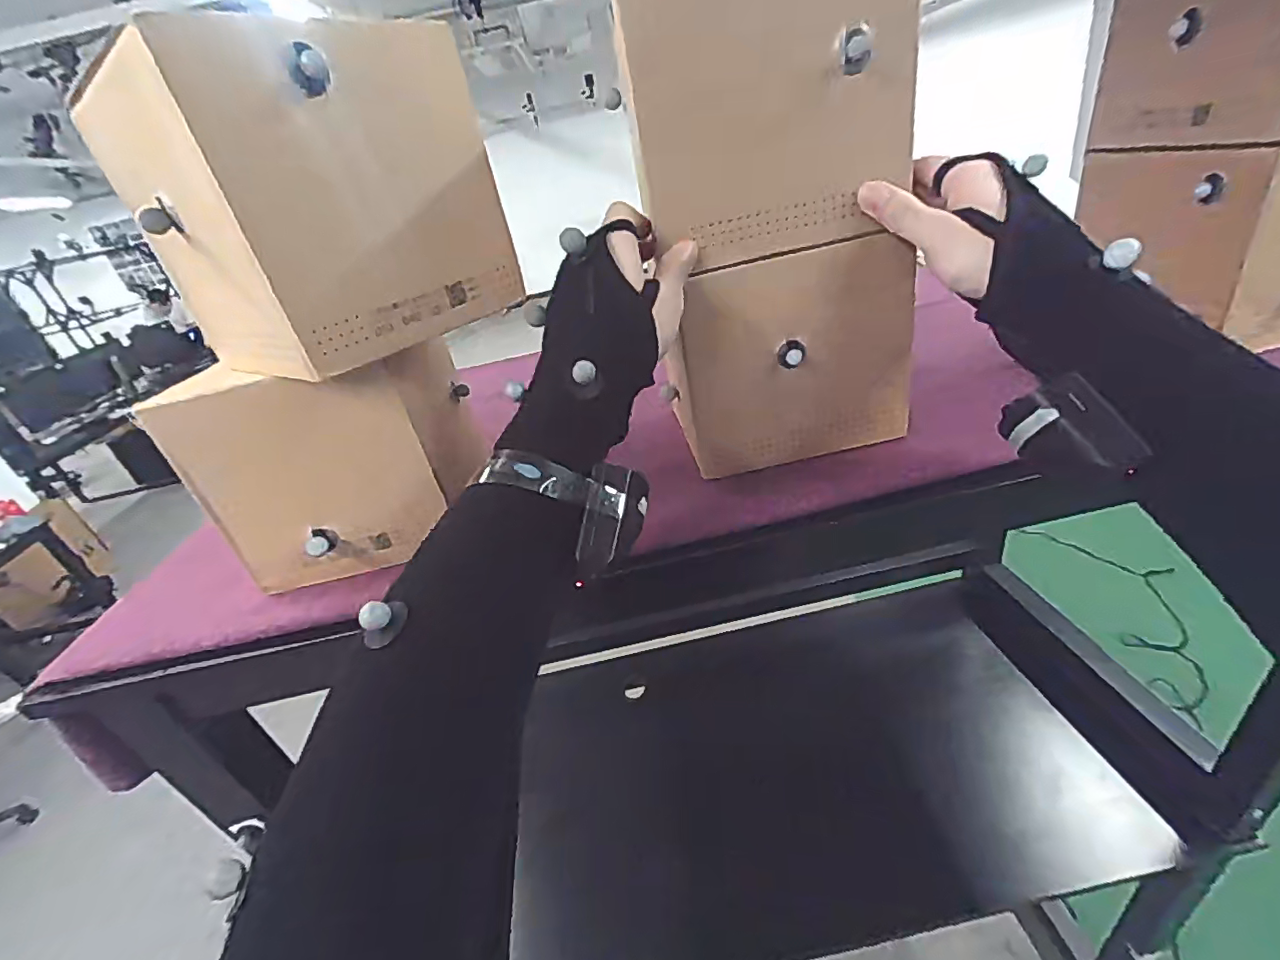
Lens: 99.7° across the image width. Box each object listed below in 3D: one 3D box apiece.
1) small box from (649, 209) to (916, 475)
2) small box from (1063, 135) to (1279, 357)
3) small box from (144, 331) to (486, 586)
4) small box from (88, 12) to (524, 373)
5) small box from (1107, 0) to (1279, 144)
[{"bbox_3d":[0.115,-0.126,0.480,0.179,0.176,0.168,-13,29,2],"label":"small box"},{"bbox_3d":[0.534,-0.226,0.488,0.168,0.176,0.179,-13,31,1],"label":"small box"},{"bbox_3d":[-0.244,-0.038,0.467,0.168,0.176,0.179,-14,30,-1],"label":"small box"},{"bbox_3d":[-0.212,-0.181,0.371,0.179,0.176,0.168,12,38,38],"label":"small box"},{"bbox_3d":[0.497,-0.359,0.398,0.179,0.176,0.168,-13,31,1],"label":"small box"}]
